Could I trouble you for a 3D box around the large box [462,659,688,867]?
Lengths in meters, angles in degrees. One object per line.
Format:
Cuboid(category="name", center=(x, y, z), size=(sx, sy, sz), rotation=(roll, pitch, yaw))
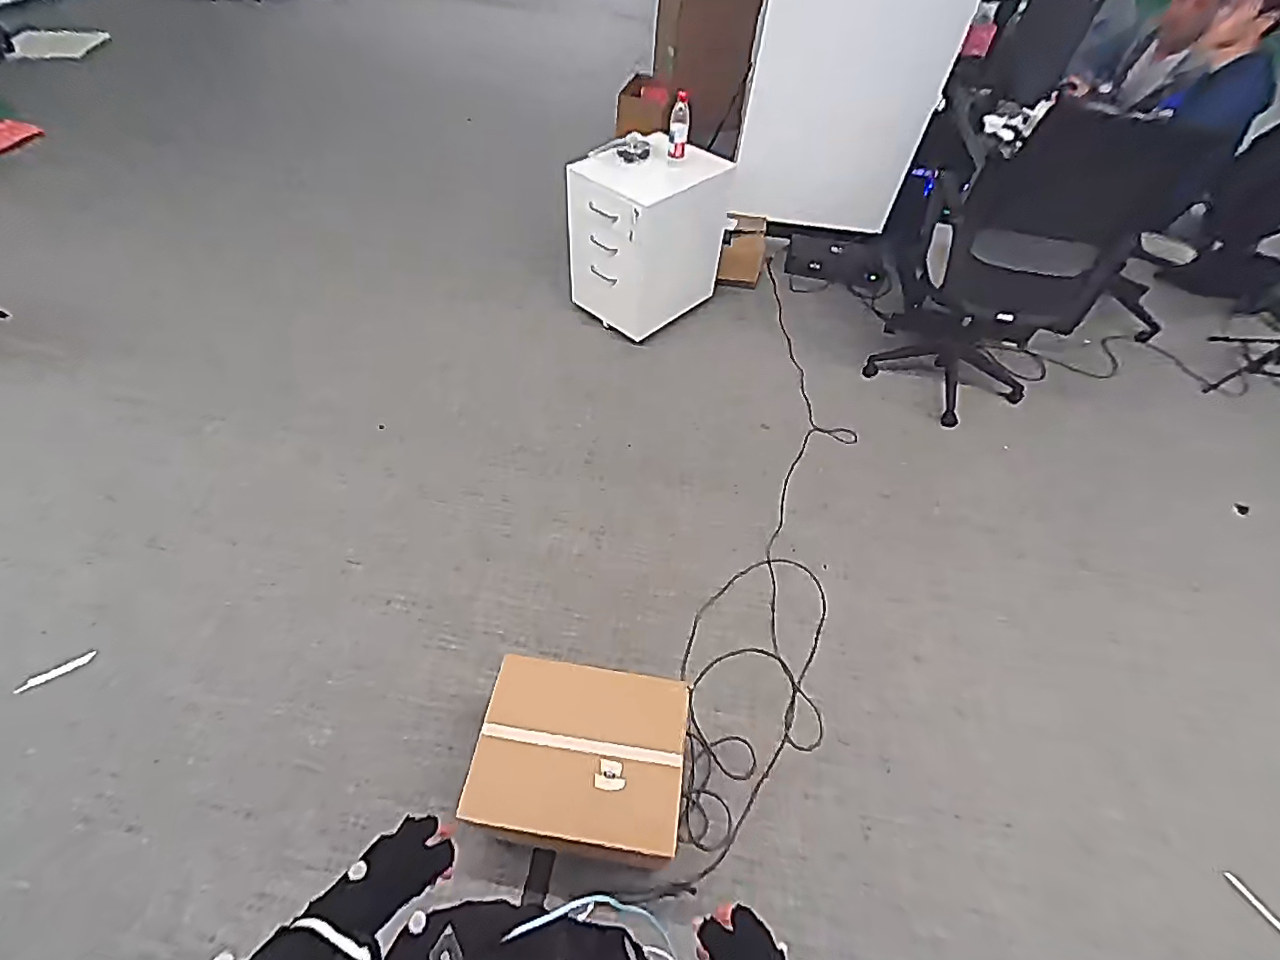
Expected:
Cuboid(category="large box", center=(-0.122, 0.624, 1.187), size=(0.408, 0.320, 0.320), rotation=(8, 52, 3))
